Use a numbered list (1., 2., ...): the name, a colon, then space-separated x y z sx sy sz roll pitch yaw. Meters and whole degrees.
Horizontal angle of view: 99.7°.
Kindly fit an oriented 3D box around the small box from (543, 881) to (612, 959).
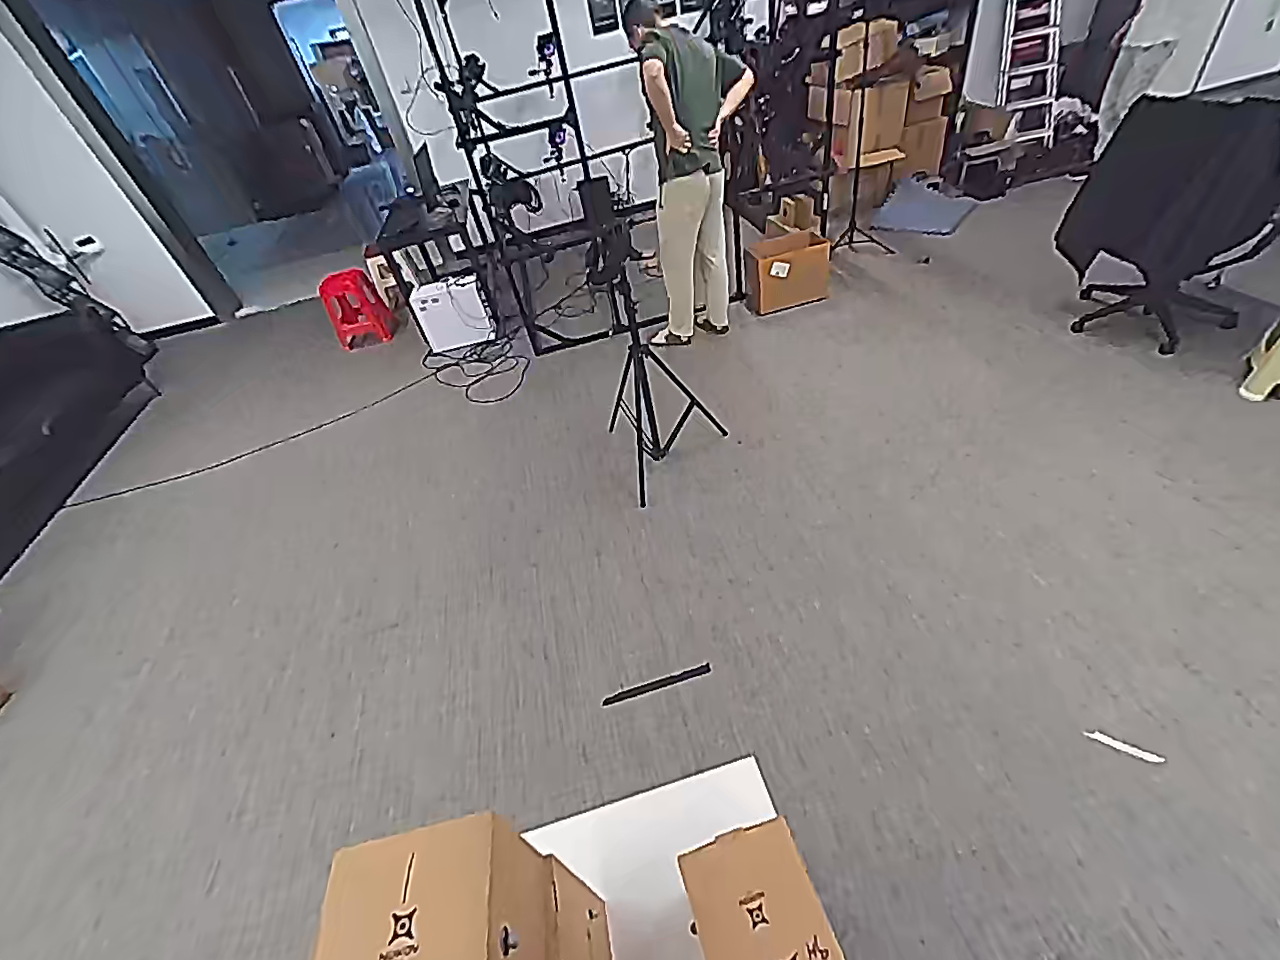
1. small box: -0.130 0.701 0.753 0.168 0.176 0.179 -16 41 -3

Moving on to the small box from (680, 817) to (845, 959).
1. small box: 0.167 0.619 0.759 0.168 0.176 0.179 -19 42 -4

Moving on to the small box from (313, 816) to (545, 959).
1. small box: -0.195 0.468 0.530 0.168 0.176 0.179 -14 41 0
